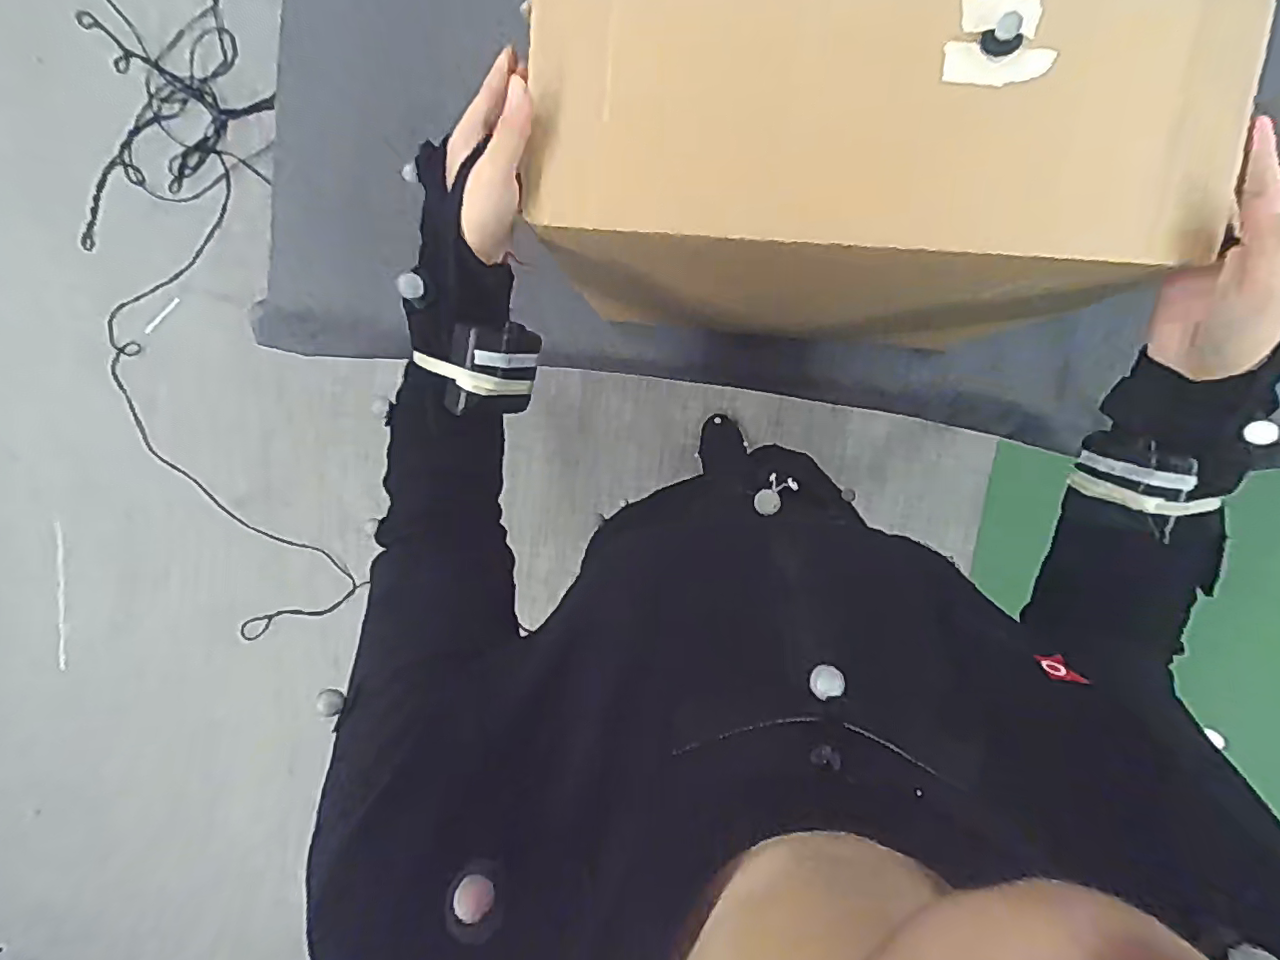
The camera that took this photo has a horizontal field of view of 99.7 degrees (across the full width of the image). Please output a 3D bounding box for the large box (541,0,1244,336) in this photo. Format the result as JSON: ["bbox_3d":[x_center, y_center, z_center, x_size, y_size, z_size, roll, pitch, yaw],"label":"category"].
[{"bbox_3d":[0.153,-0.316,0.466,0.408,0.320,0.320,6,96,4],"label":"large box"}]
